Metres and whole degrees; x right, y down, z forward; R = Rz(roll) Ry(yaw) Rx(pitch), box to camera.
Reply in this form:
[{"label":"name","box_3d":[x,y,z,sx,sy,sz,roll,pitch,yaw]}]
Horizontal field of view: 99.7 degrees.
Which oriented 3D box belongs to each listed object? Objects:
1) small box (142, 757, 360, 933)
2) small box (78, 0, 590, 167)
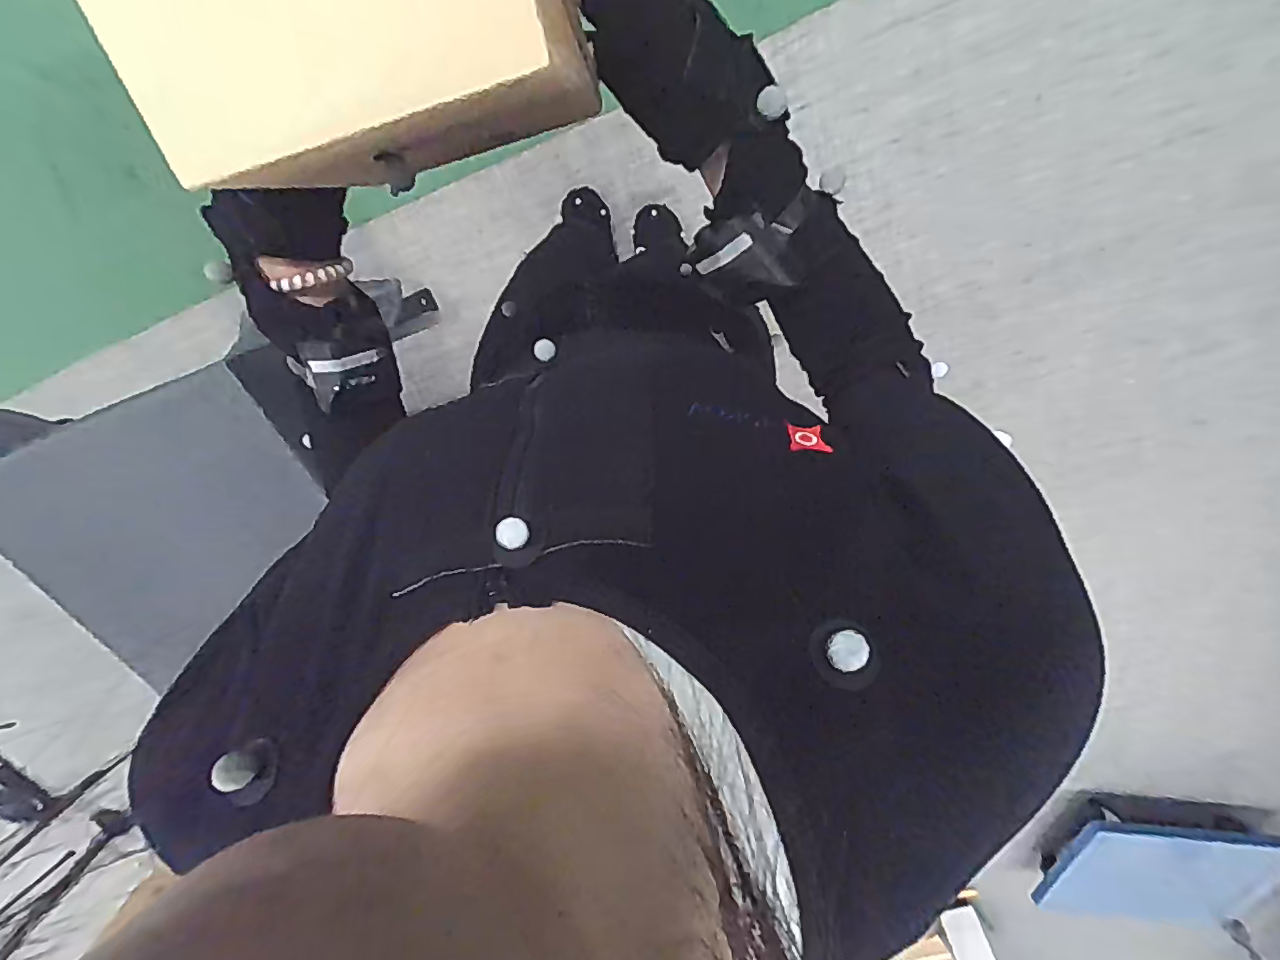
[{"label":"small box","box_3d":[-0.587,0.557,0.842,0.168,0.176,0.179,-18,116,13]},{"label":"small box","box_3d":[-0.130,-0.258,0.242,0.168,0.176,0.179,-12,117,10]}]
